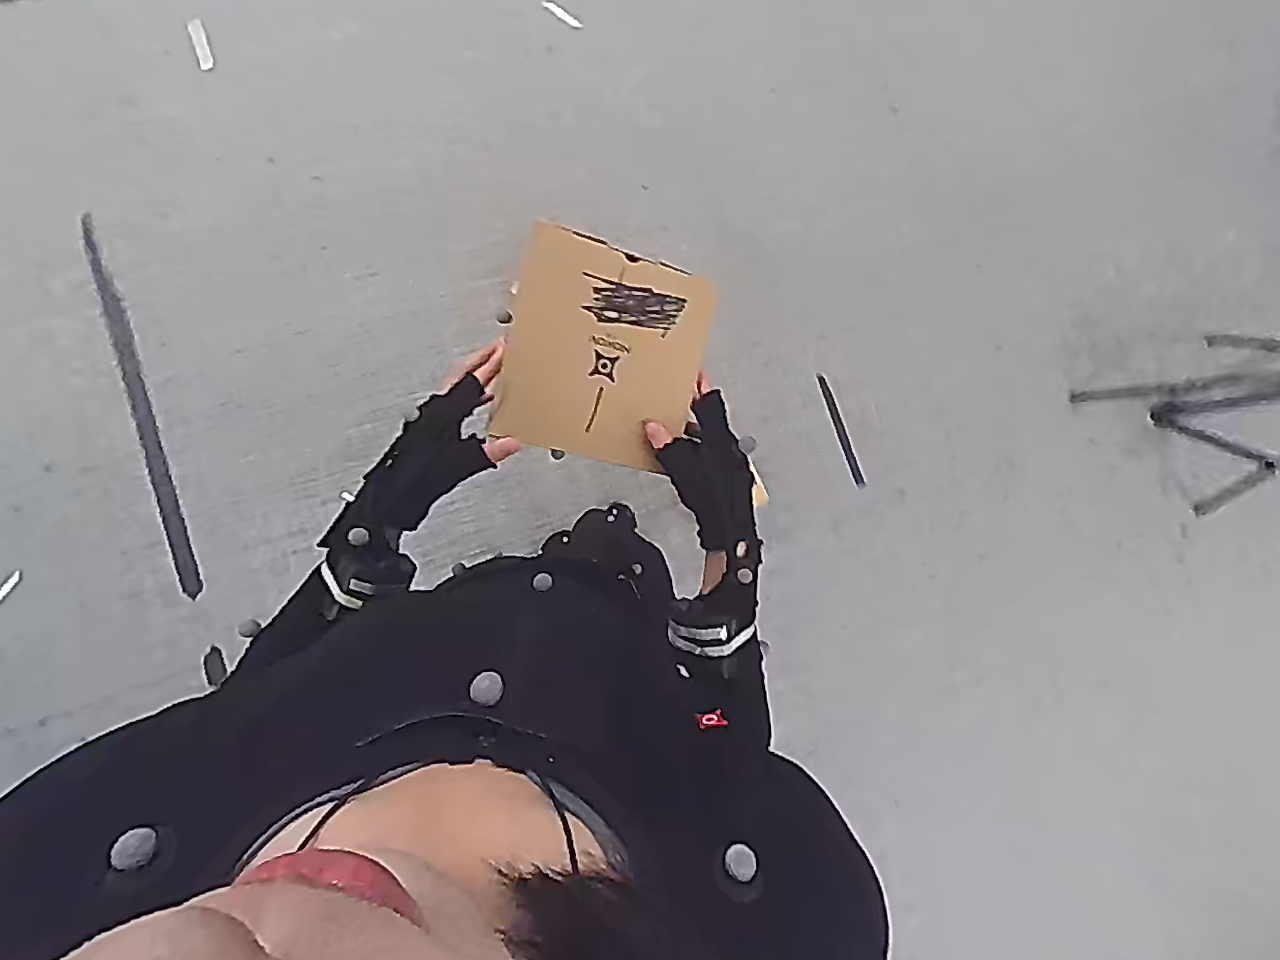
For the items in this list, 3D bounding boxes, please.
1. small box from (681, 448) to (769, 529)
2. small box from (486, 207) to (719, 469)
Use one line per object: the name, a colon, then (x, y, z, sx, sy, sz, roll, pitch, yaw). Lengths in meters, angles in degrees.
small box: (0.225, 0.029, 1.506, 0.179, 0.176, 0.168, -25, 89, -8)
small box: (-0.048, -0.120, 0.518, 0.168, 0.176, 0.179, 12, 95, -16)
